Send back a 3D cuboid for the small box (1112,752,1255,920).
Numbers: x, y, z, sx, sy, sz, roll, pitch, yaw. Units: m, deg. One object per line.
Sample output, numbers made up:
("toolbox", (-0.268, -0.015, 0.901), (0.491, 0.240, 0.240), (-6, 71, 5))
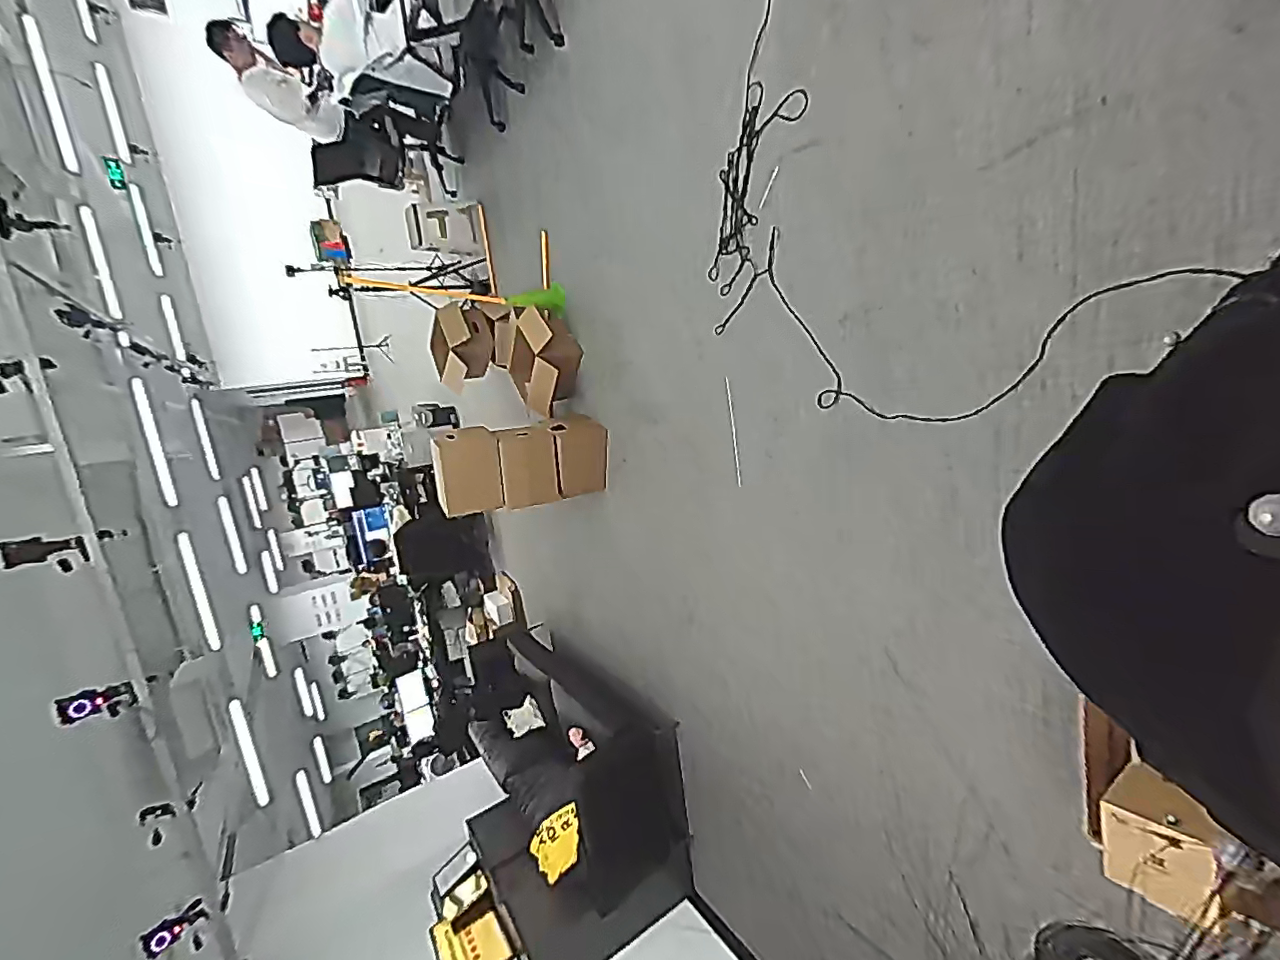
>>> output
("small box", (1.059, 0.678, 1.053), (0.168, 0.176, 0.179), (3, 105, 58))
